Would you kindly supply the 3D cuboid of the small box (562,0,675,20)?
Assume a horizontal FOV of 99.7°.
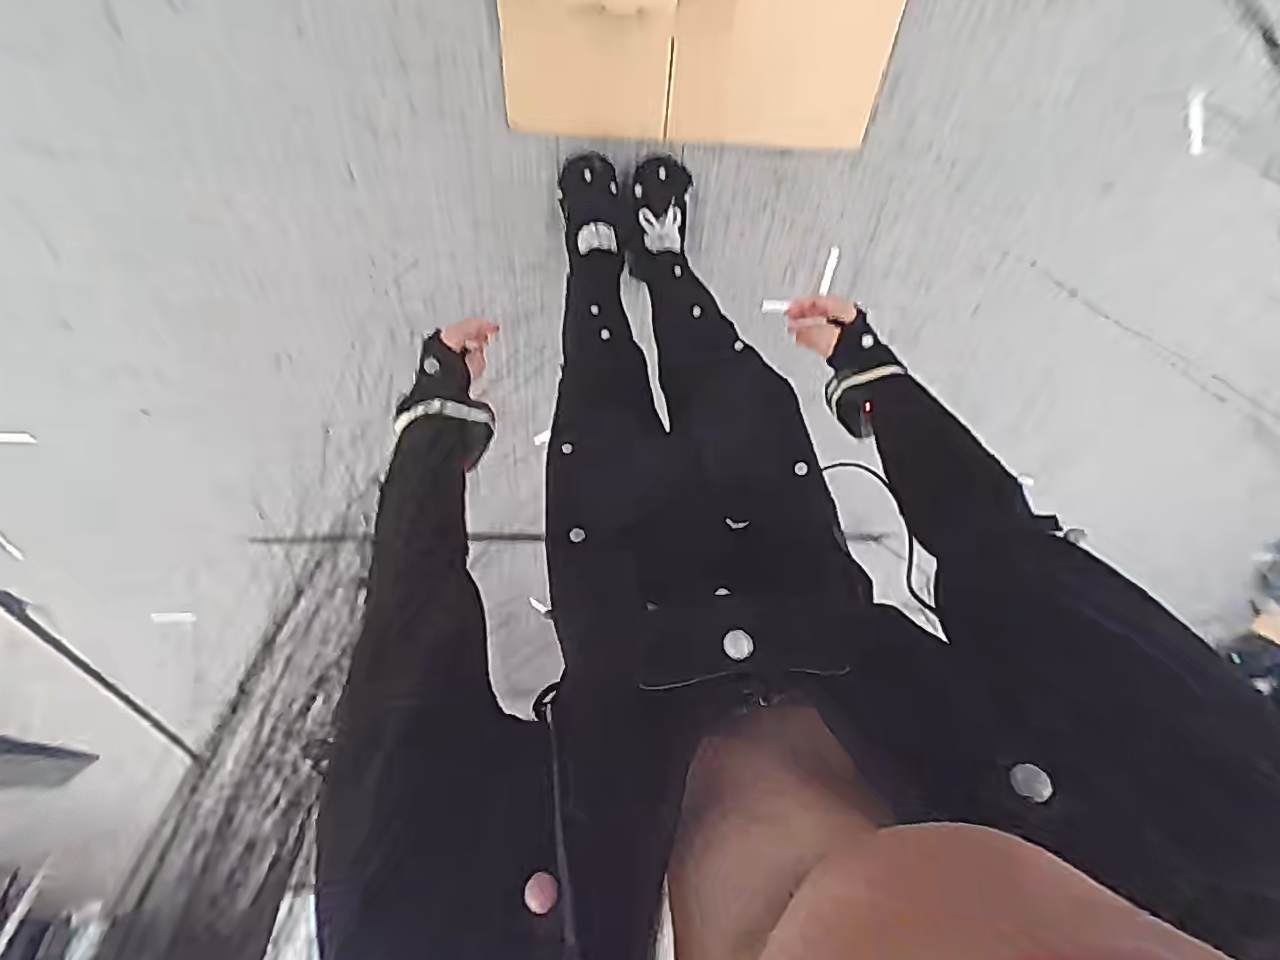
[{"bbox_3d":[-0.032,-0.799,0.789,0.168,0.176,0.179,-2,133,-9],"label":"small box"}]
